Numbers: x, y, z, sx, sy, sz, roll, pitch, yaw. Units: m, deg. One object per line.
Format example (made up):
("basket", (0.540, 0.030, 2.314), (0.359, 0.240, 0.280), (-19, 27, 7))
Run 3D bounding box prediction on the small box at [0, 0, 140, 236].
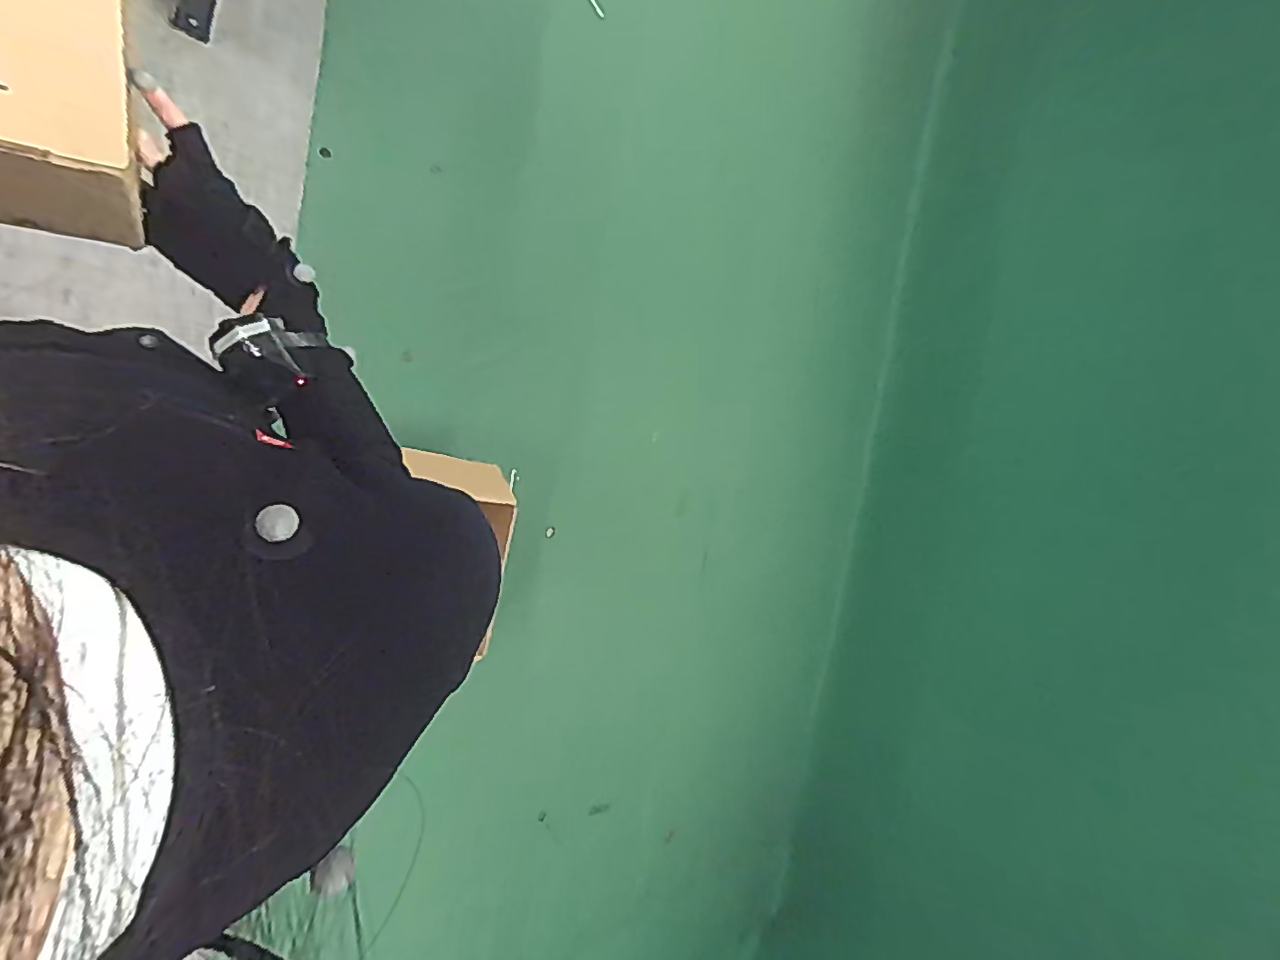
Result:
("small box", (-0.405, -0.262, 0.310), (0.168, 0.176, 0.179), (-3, 96, -42))
